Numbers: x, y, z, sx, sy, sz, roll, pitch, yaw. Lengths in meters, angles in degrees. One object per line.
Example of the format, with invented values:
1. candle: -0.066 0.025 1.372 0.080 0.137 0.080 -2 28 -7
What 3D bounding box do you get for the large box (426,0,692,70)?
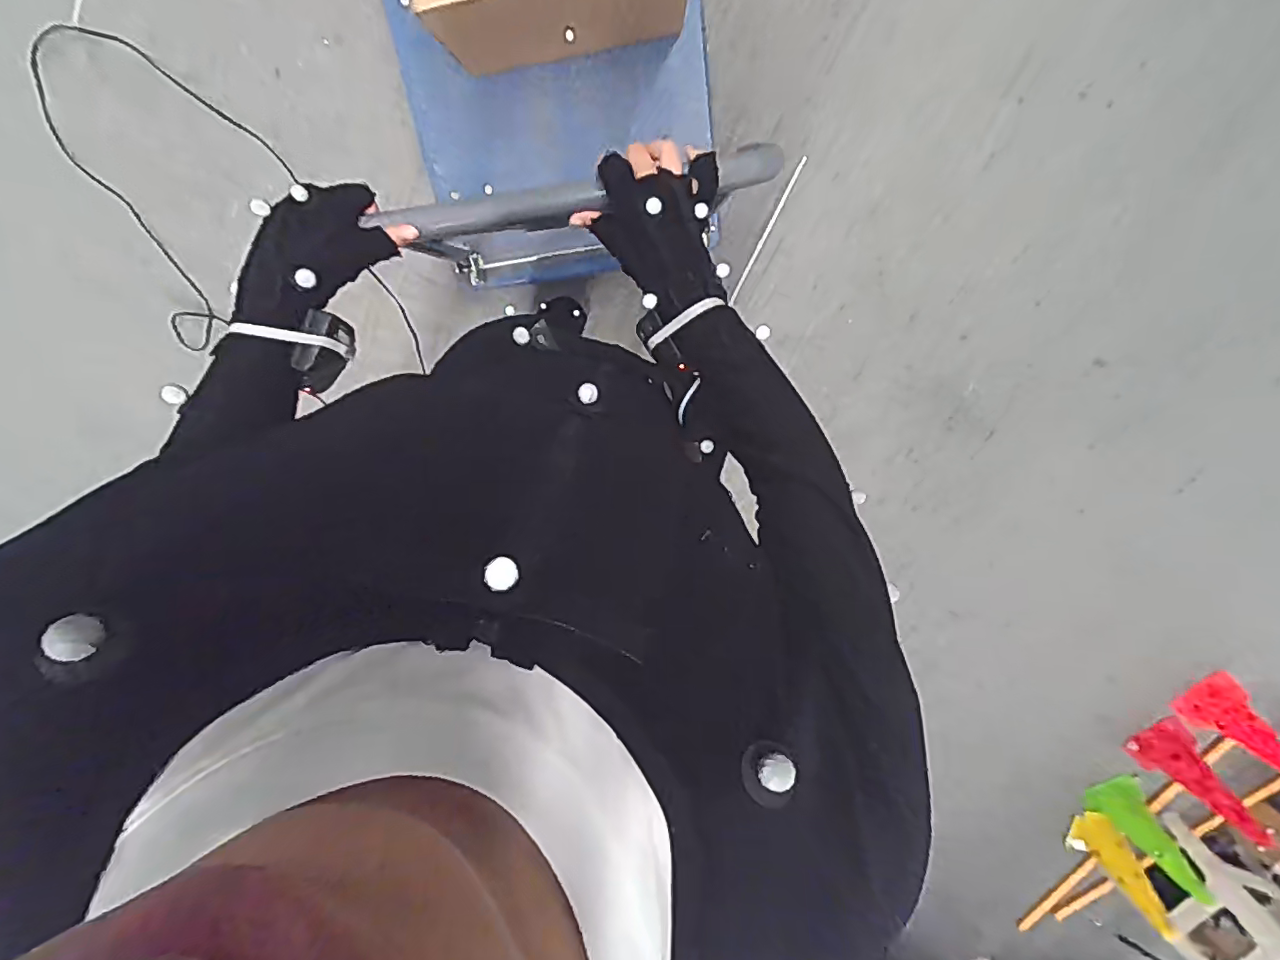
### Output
1. large box: -0.132 -0.893 0.823 0.408 0.320 0.320 -10 111 4
